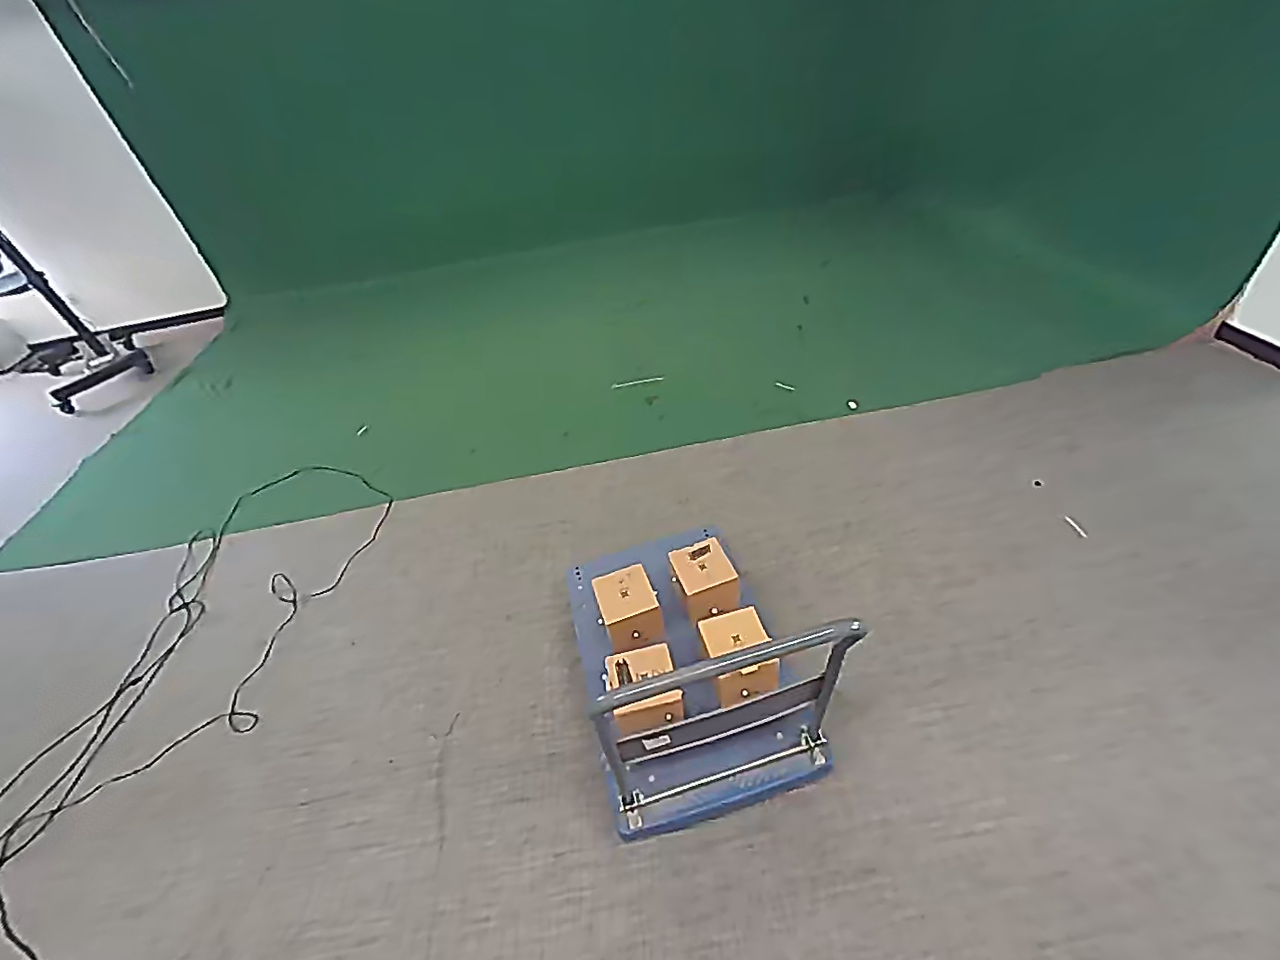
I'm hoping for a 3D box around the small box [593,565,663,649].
[{"bbox_3d":[-0.034,0.400,1.679,0.168,0.176,0.179,-17,43,-9],"label":"small box"}]

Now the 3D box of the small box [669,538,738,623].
[{"bbox_3d":[0.202,0.321,1.717,0.168,0.176,0.179,-19,44,-8],"label":"small box"}]

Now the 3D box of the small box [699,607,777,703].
[{"bbox_3d":[0.271,0.492,1.519,0.168,0.176,0.179,-15,43,-5],"label":"small box"}]
